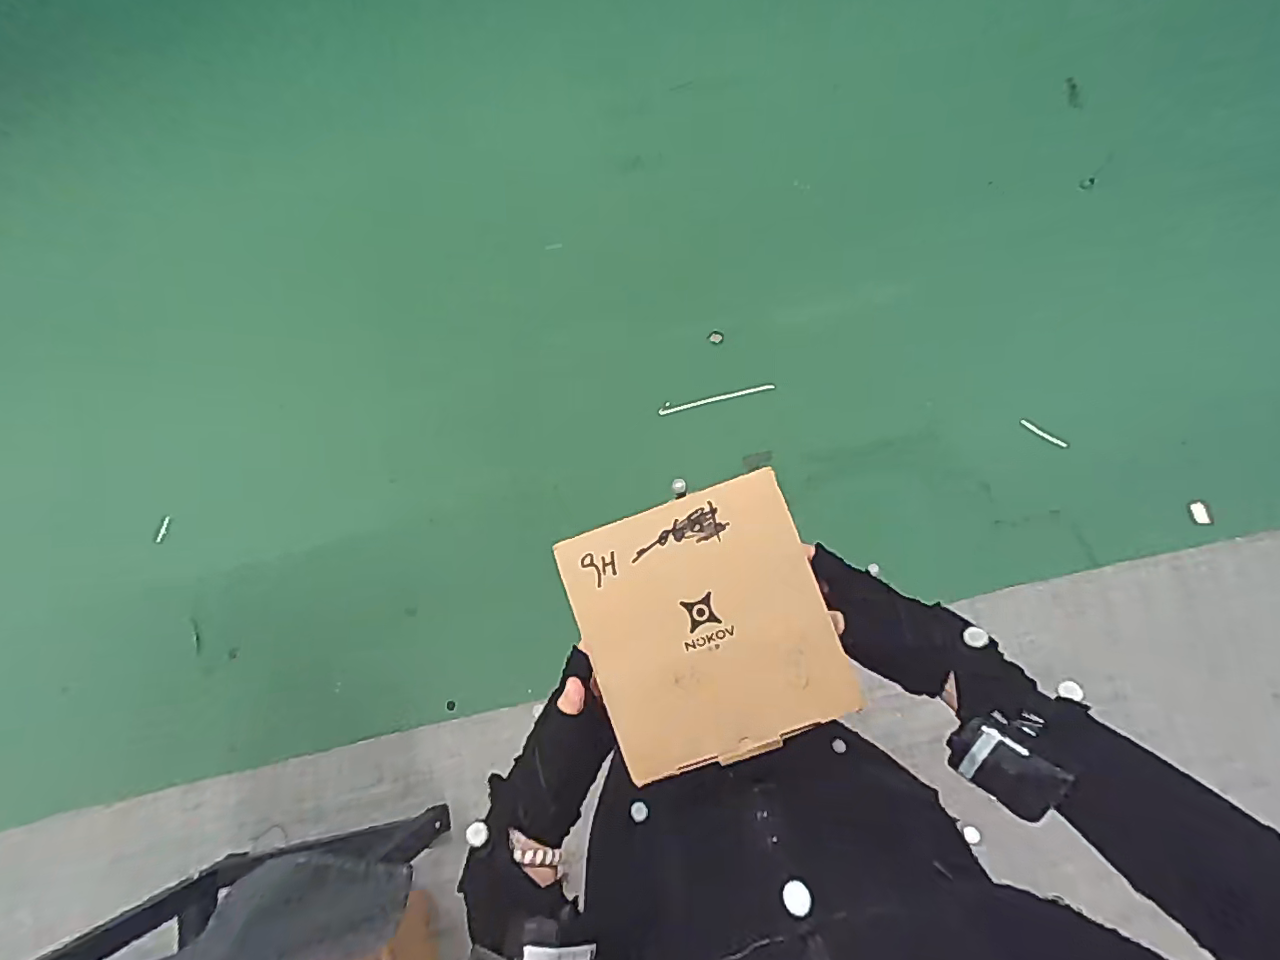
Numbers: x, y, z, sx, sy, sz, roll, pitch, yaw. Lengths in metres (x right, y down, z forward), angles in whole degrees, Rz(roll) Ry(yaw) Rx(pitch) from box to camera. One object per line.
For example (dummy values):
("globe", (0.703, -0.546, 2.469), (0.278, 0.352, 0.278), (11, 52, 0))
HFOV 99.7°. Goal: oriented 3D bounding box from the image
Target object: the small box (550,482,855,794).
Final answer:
("small box", (0.046, 0.108, 0.444), (0.168, 0.176, 0.179), (-19, 87, 2))
